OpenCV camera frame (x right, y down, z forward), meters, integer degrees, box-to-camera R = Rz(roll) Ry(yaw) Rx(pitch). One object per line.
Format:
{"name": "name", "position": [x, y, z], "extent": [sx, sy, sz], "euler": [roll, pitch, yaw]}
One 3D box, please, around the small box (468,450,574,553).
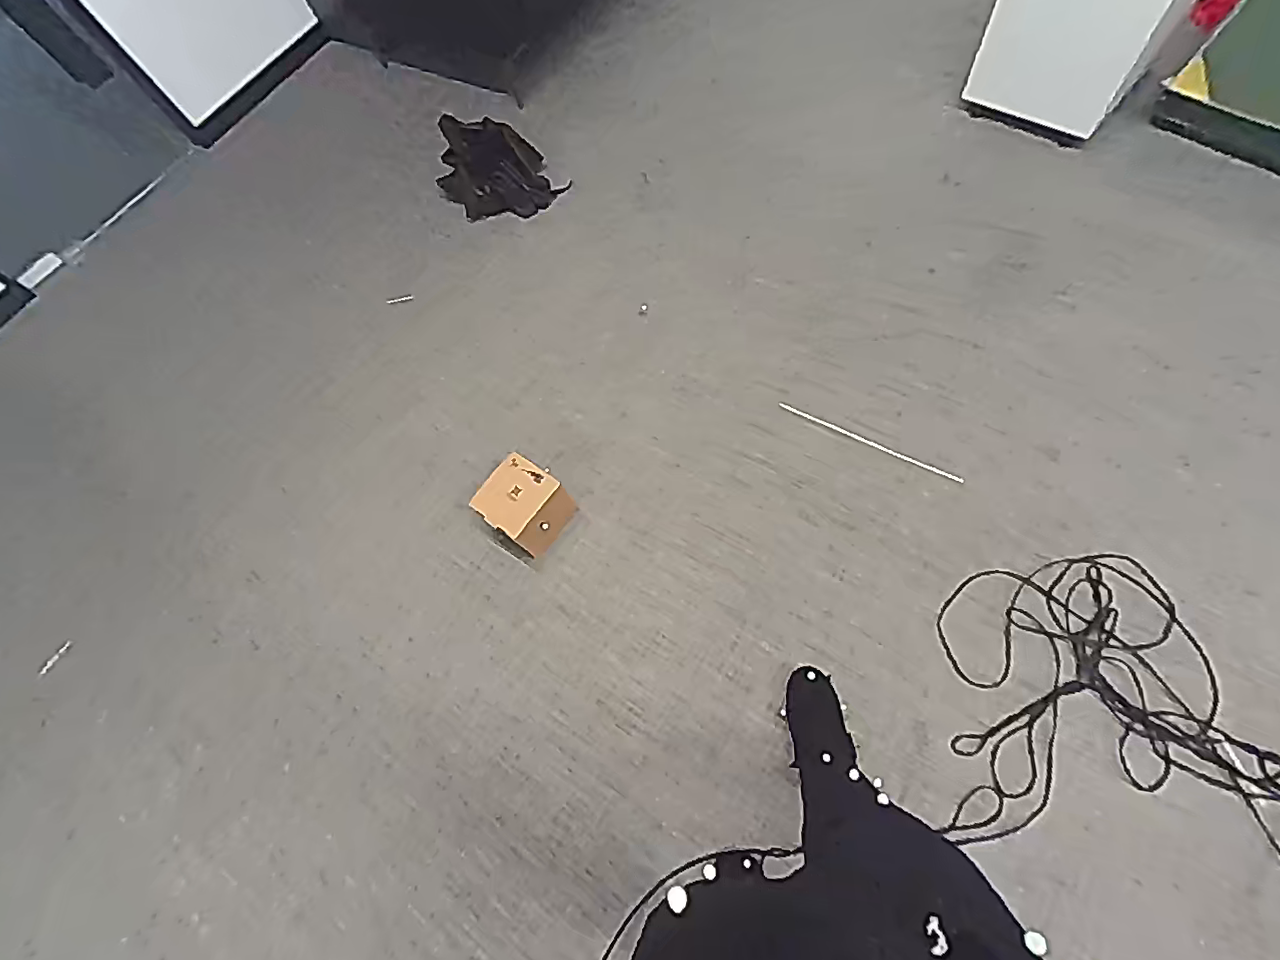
{"name": "small box", "position": [-0.292, 0.062, 1.373], "extent": [0.168, 0.176, 0.179], "euler": [32, 76, 20]}
